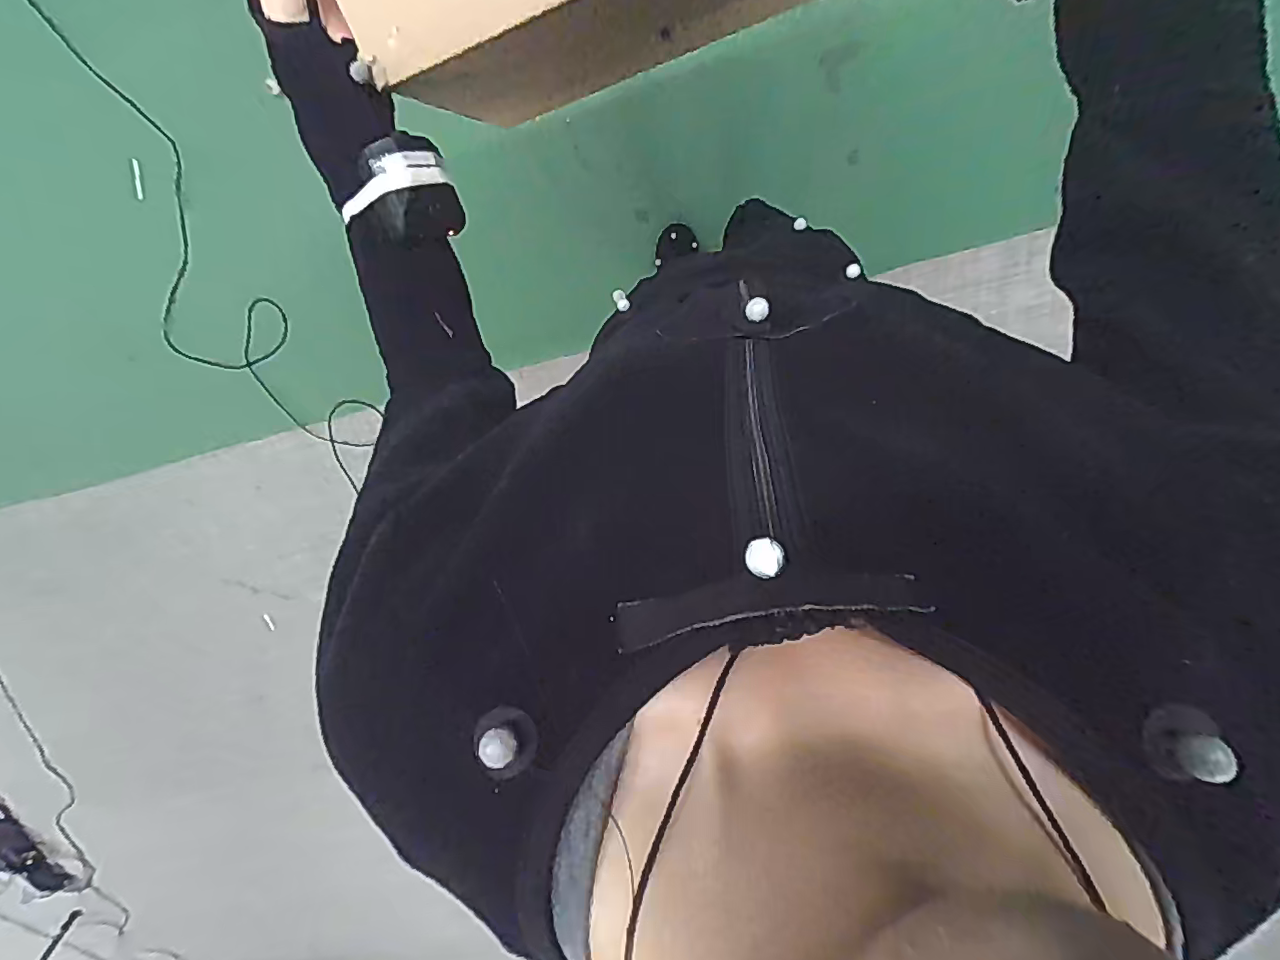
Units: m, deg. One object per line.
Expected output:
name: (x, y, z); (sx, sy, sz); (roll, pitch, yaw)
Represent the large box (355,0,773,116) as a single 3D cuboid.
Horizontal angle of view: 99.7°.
large box: (-0.027, -0.533, 0.407); (0.408, 0.320, 0.320); (-14, 116, 13)
